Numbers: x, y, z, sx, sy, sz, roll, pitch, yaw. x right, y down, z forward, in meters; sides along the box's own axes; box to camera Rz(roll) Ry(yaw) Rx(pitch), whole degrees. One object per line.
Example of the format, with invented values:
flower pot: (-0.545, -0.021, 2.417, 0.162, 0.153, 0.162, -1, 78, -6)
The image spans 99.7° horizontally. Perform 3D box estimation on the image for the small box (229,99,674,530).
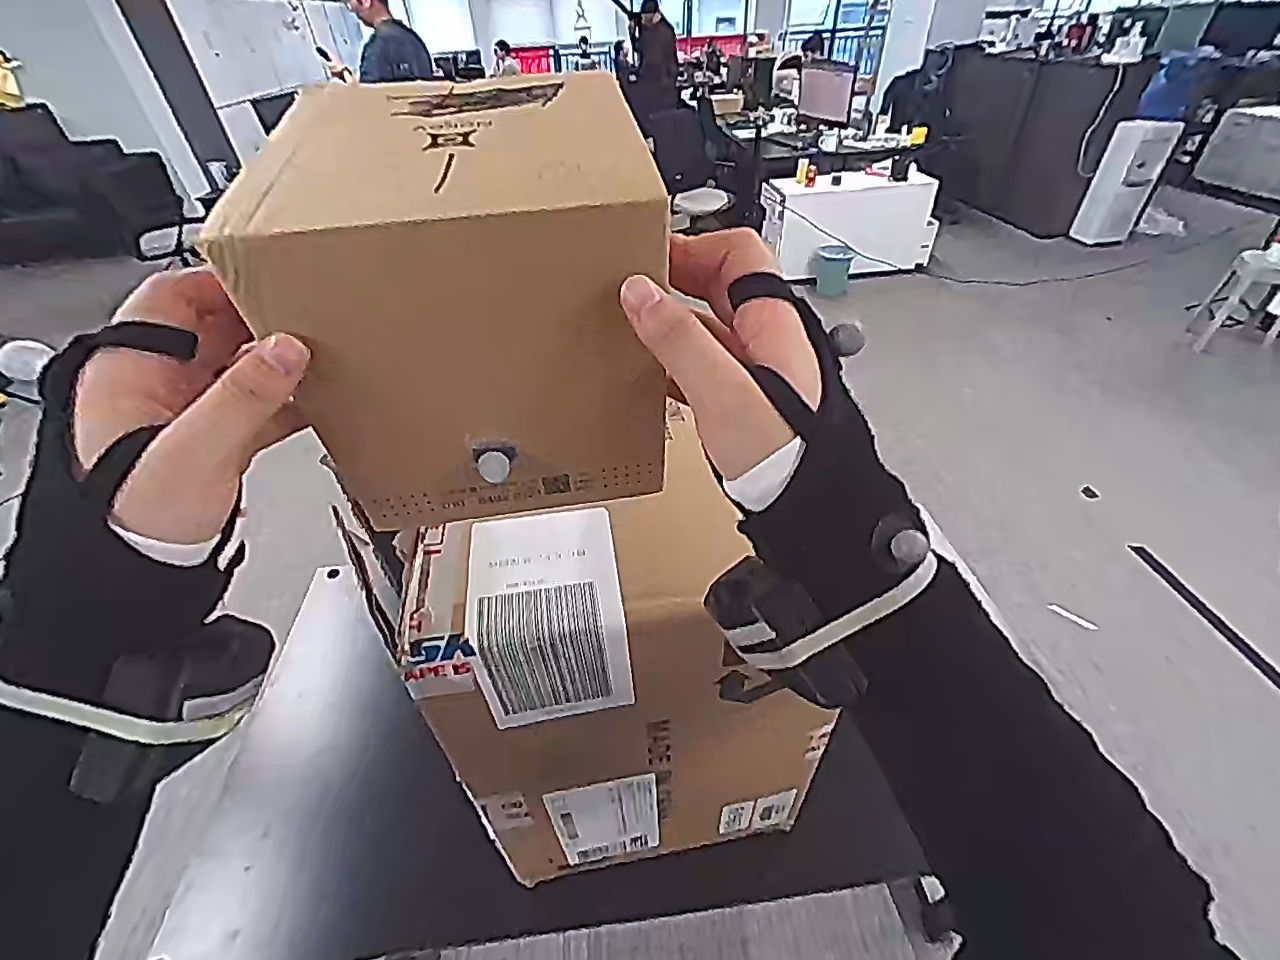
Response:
small box: (-0.079, -0.096, 0.314, 0.168, 0.176, 0.179, -8, 49, -5)
